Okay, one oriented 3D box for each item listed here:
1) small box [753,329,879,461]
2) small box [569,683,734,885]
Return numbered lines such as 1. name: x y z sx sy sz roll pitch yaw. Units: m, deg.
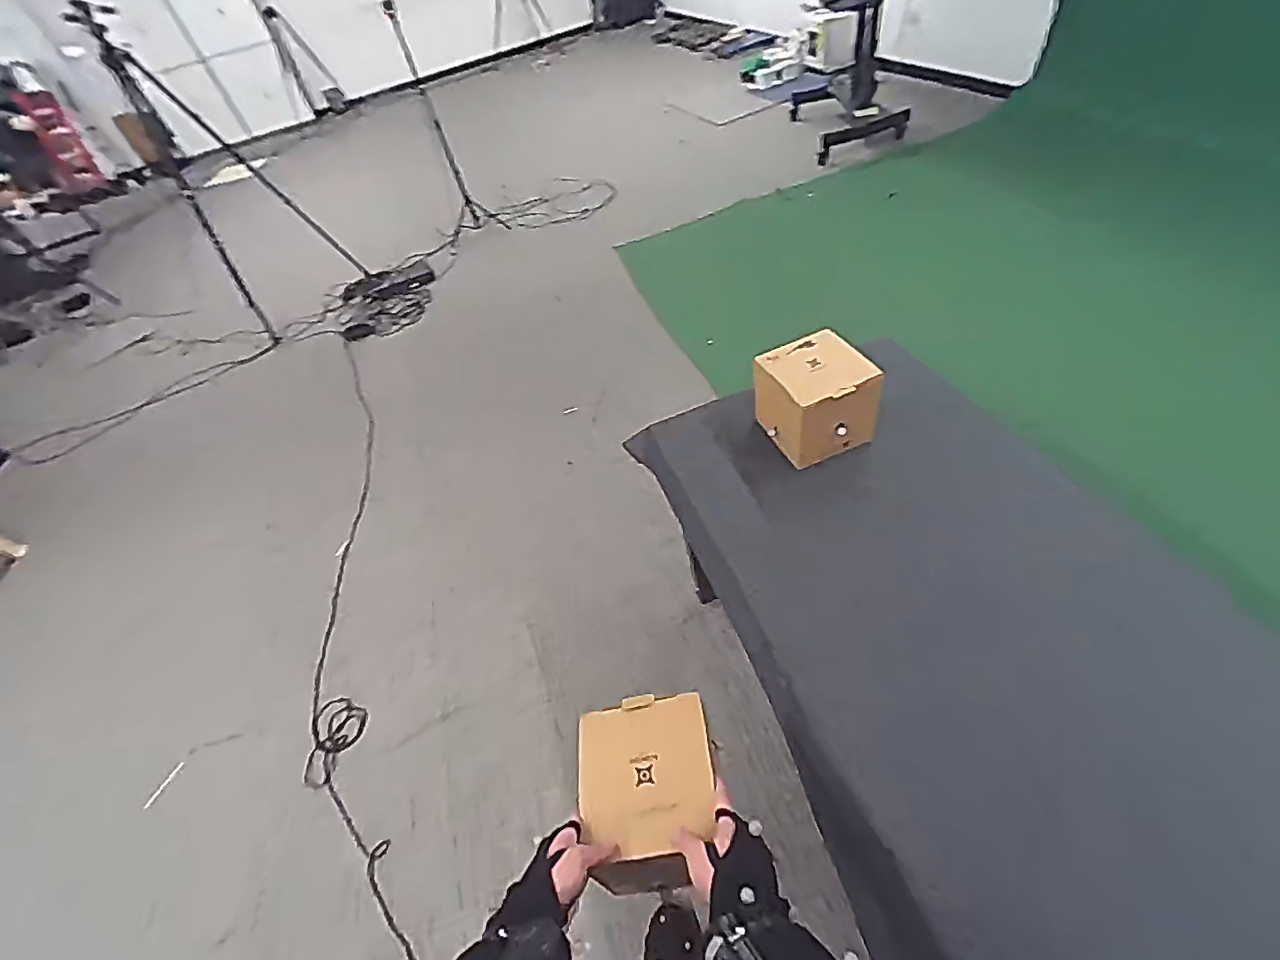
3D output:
1. small box: 0.338 -0.159 1.066 0.168 0.176 0.179 -22 49 -6
2. small box: 0.018 0.390 0.694 0.168 0.176 0.179 -13 42 9
